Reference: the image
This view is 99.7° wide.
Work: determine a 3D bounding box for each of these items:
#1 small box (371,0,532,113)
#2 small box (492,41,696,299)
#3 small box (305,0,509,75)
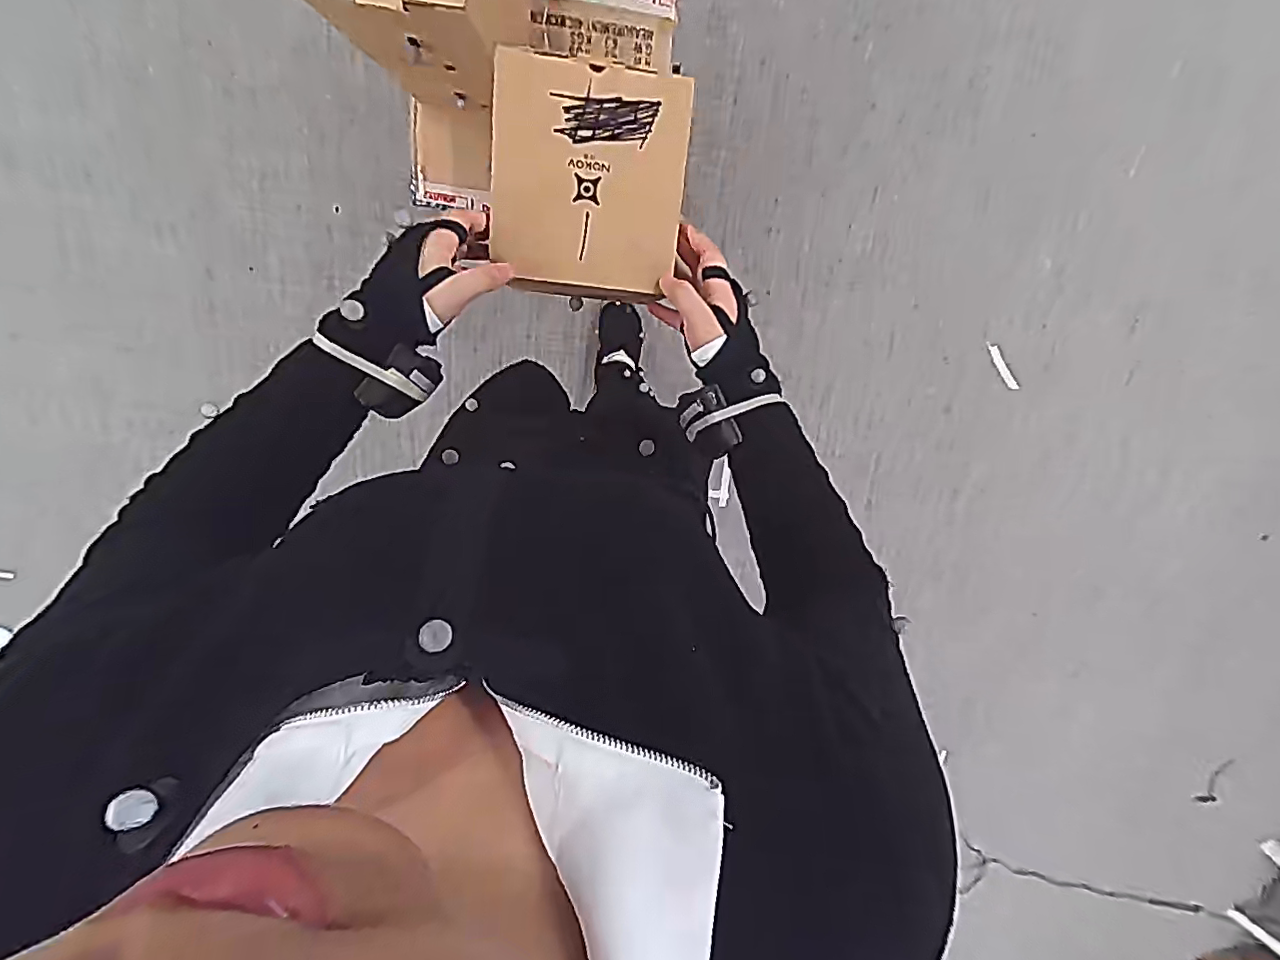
[{"bbox_3d":[-0.240,-0.617,0.713,0.168,0.176,0.179,5,108,-2],"label":"small box"},{"bbox_3d":[-0.049,-0.286,0.542,0.168,0.176,0.179,4,105,-6],"label":"small box"},{"bbox_3d":[-0.234,-0.556,0.560,0.168,0.176,0.179,6,109,-3],"label":"small box"}]
